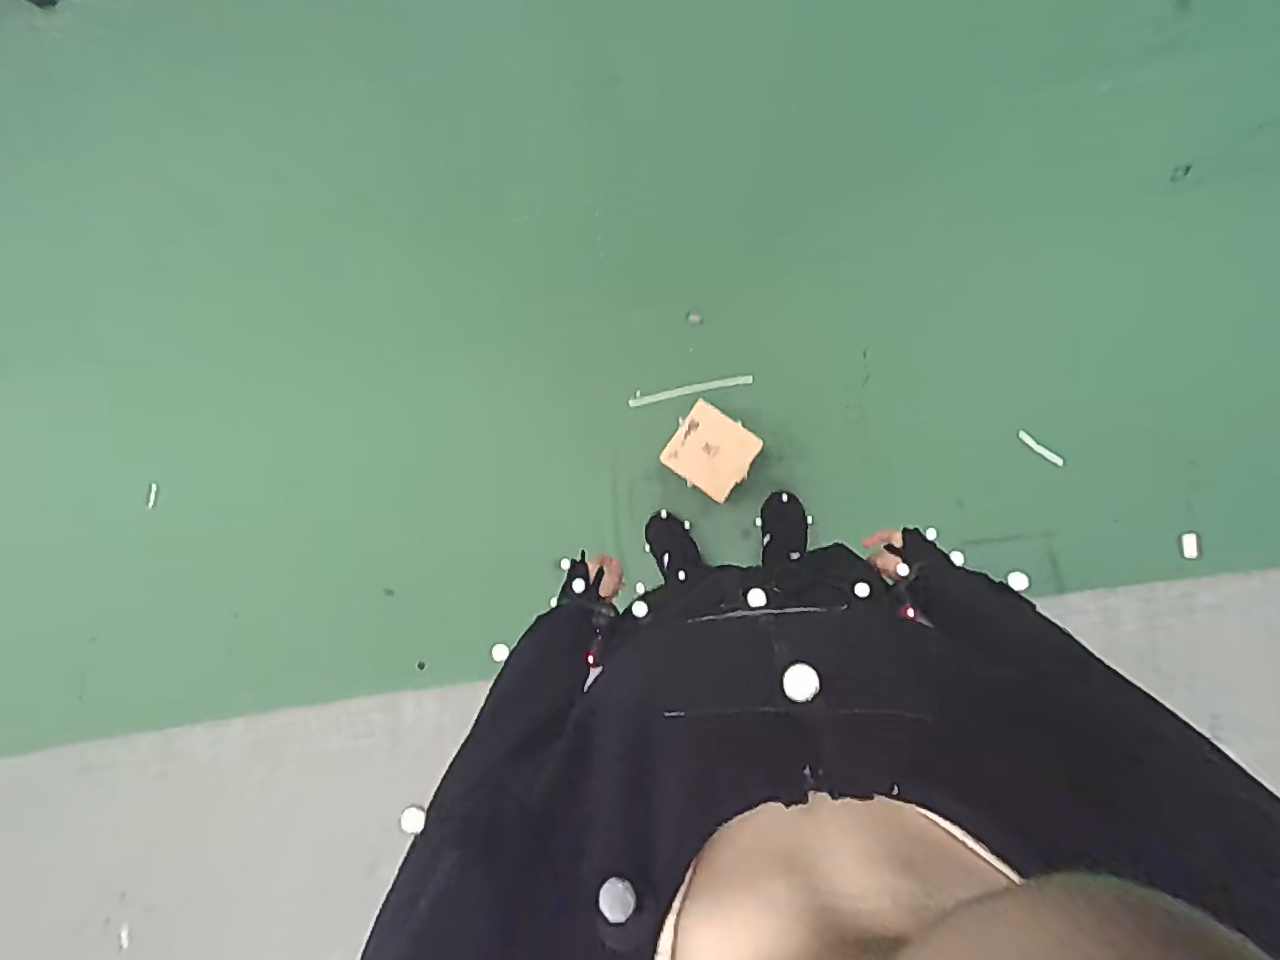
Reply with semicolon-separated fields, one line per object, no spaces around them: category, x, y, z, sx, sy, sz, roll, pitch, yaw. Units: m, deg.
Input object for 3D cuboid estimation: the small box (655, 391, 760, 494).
small box;0.159;-0.088;1.267;0.179;0.176;0.168;35;96;5
